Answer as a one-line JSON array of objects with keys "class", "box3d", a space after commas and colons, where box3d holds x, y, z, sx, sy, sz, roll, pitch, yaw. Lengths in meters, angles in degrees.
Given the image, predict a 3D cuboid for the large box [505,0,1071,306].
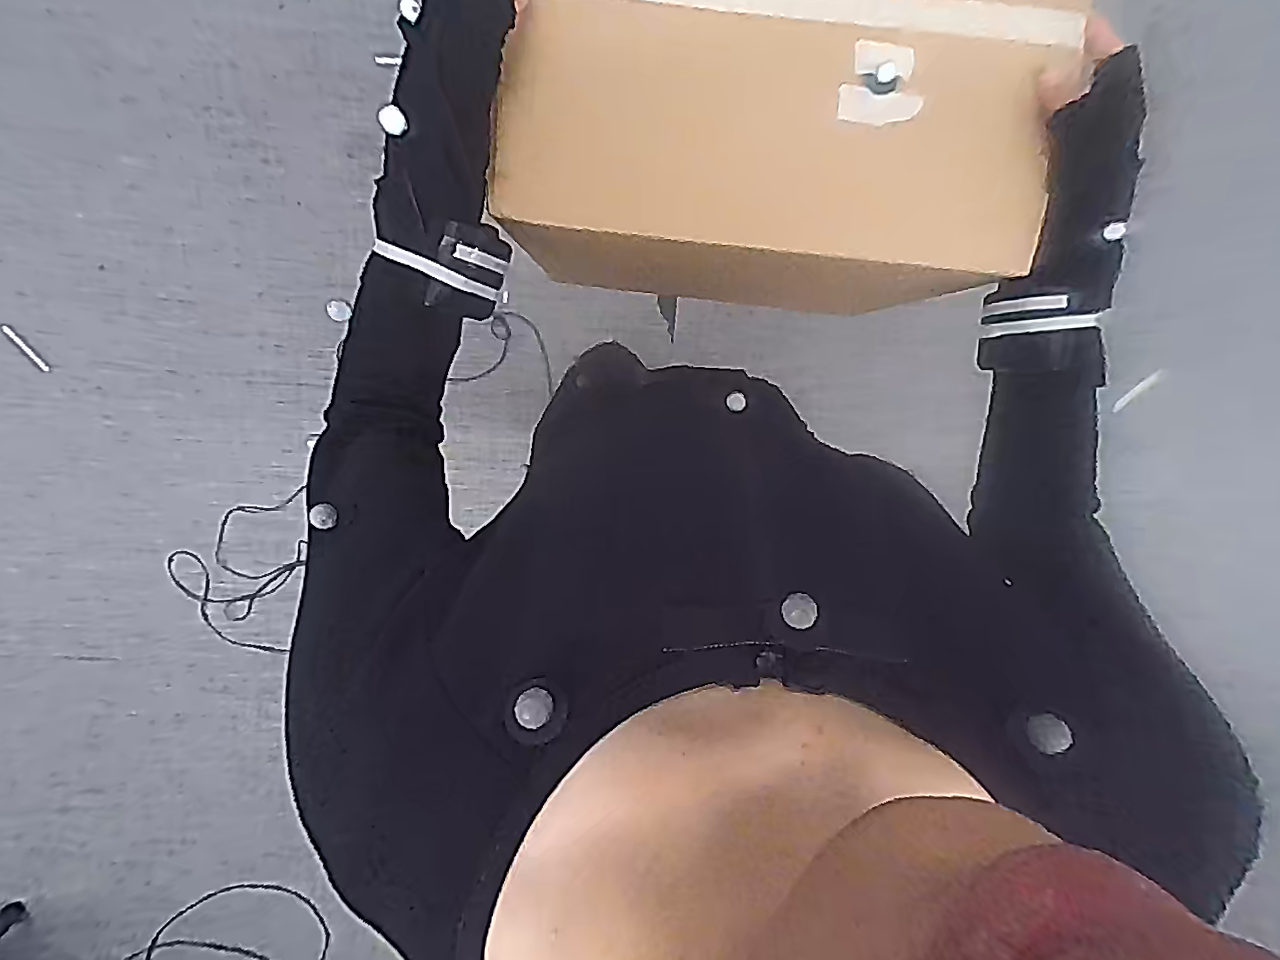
[{"class": "large box", "box3d": [0.102, -0.363, 0.530, 0.408, 0.320, 0.320, 5, 102, -2]}]
